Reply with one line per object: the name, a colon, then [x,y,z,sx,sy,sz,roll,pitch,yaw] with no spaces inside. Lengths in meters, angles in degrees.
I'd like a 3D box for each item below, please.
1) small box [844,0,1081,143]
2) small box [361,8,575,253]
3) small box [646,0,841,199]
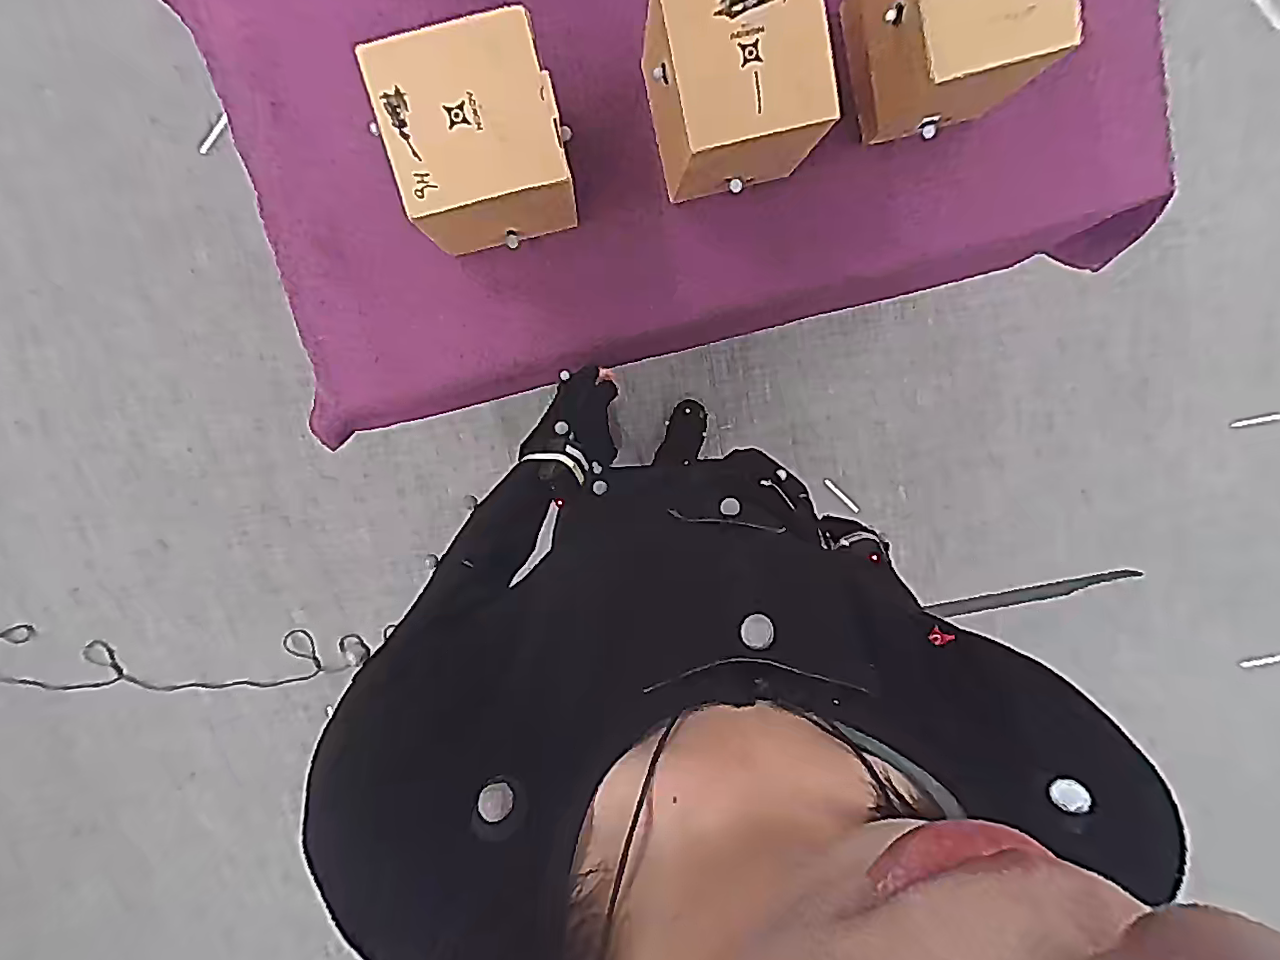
small box: [0.361,-0.540,0.634,0.168,0.176,0.179,-16,101,0]
small box: [-0.178,-0.382,0.623,0.179,0.176,0.168,-15,100,-2]
small box: [0.107,-0.460,0.629,0.168,0.176,0.179,-14,100,-1]
